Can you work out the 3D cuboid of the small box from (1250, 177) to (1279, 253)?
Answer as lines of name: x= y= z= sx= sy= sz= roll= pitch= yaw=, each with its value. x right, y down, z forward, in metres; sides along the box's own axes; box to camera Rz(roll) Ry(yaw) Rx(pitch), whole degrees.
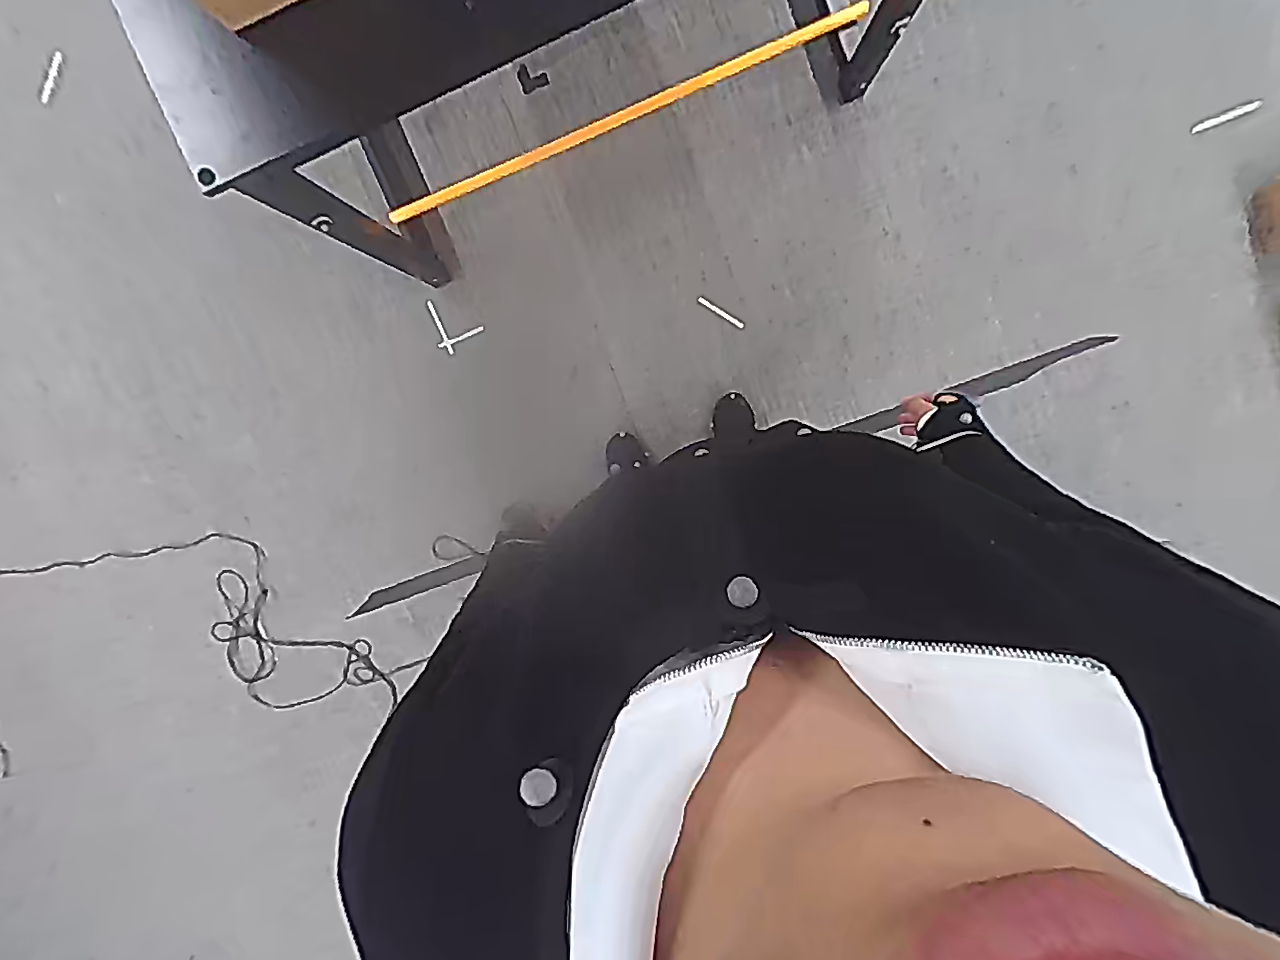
small box: x=1.580 y=-0.648 z=1.247 sx=0.179 sy=0.176 sz=0.168 roll=-19 pitch=97 yaw=6

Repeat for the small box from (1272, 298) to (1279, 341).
small box: x=1.688 y=-0.383 z=1.283 sx=0.168 sy=0.176 sz=0.179 roll=-22 pitch=97 yaw=6
